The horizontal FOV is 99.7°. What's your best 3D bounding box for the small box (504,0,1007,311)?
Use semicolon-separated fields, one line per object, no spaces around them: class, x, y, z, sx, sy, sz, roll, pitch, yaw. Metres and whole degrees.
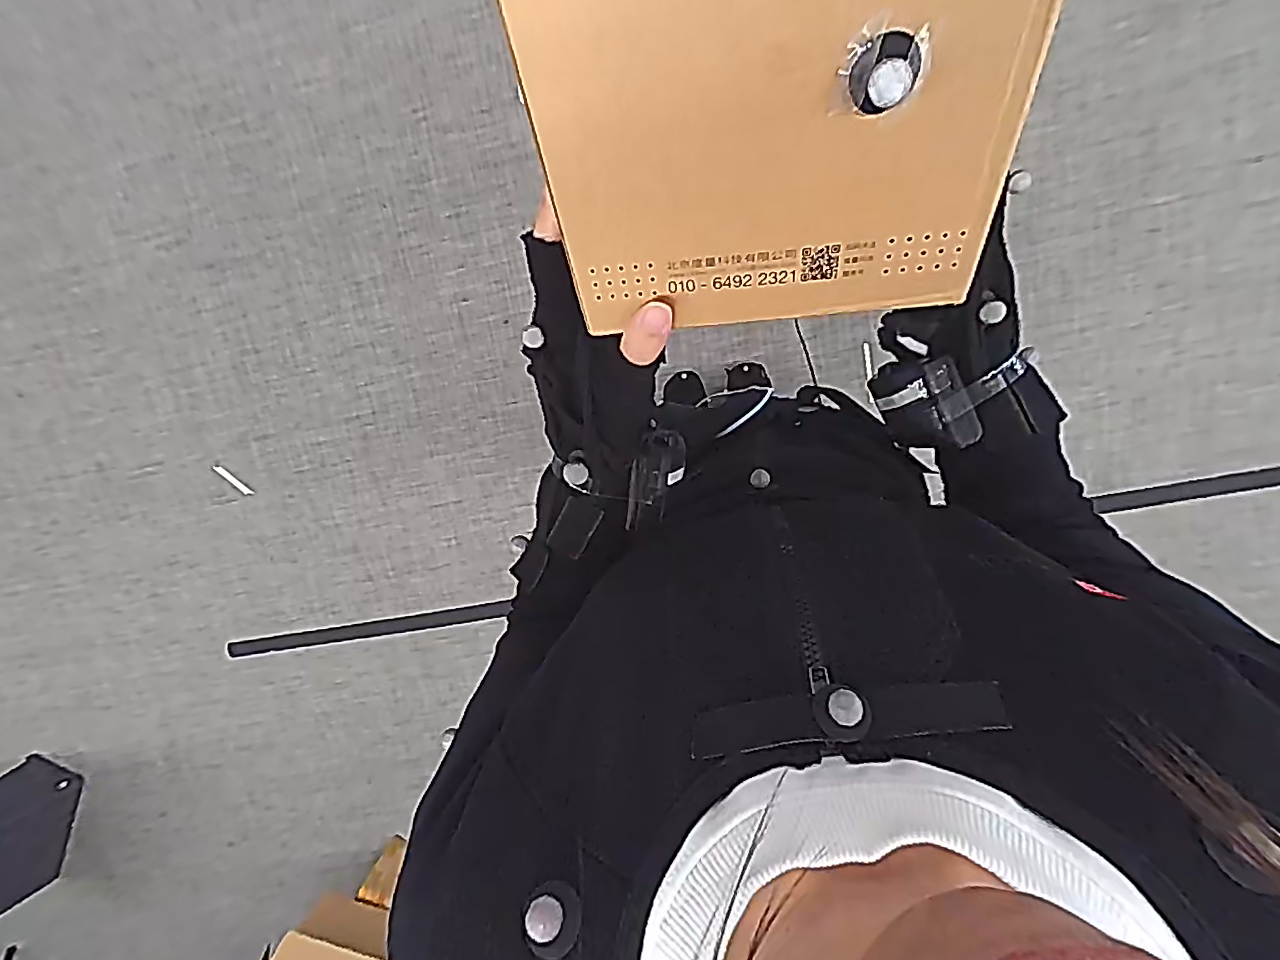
small box;0.053;-0.194;0.254;0.168;0.179;0.176;-1;140;11
